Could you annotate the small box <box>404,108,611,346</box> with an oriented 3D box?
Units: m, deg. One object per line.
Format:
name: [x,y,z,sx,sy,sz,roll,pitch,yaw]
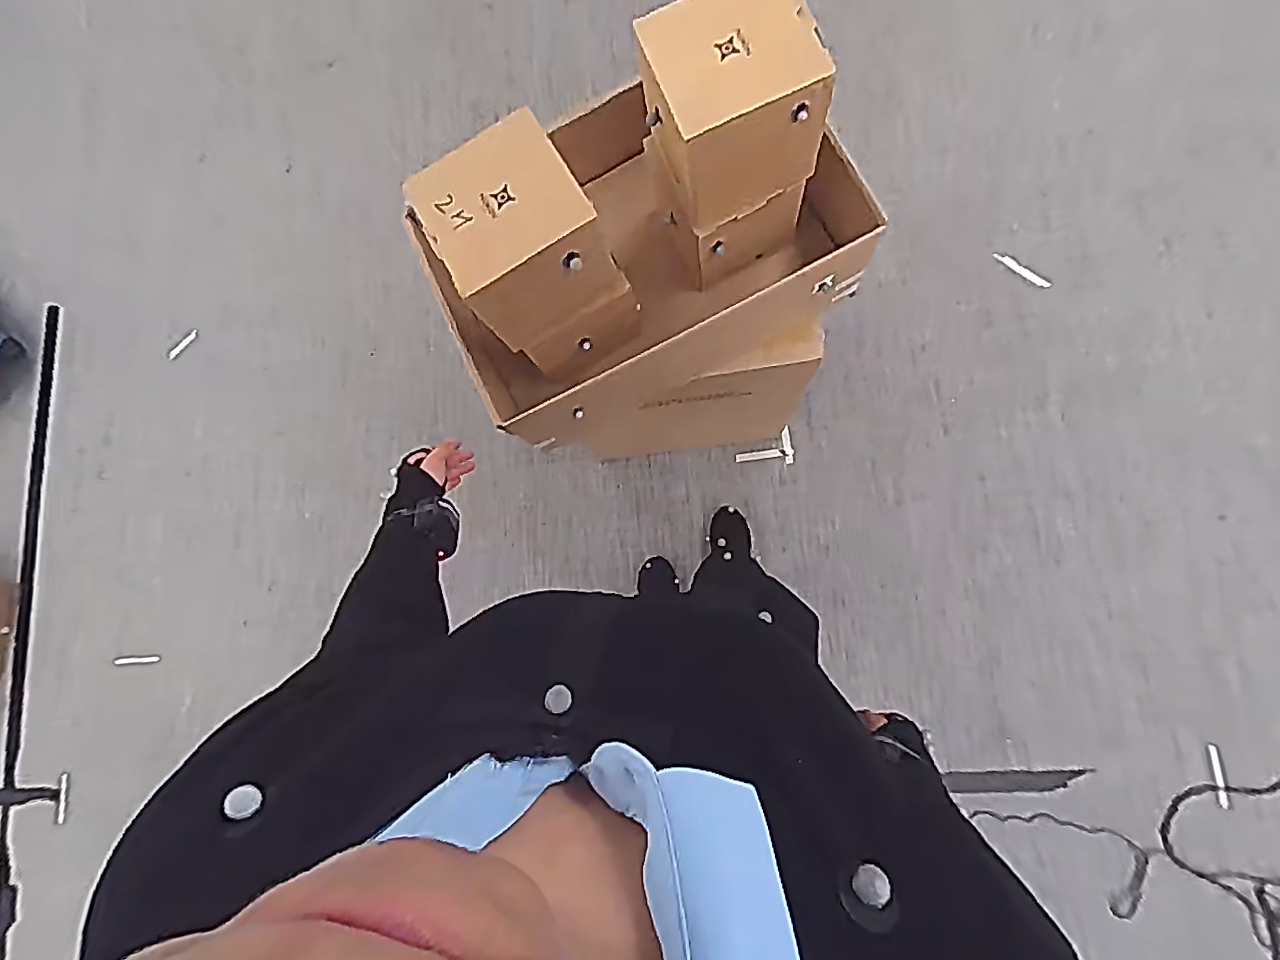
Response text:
small box: [-0.149,-0.301,0.679,0.179,0.176,0.168,-31,80,3]

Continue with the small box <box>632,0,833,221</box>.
small box: [0.109,-0.460,0.667,0.179,0.176,0.168,-22,81,4]
